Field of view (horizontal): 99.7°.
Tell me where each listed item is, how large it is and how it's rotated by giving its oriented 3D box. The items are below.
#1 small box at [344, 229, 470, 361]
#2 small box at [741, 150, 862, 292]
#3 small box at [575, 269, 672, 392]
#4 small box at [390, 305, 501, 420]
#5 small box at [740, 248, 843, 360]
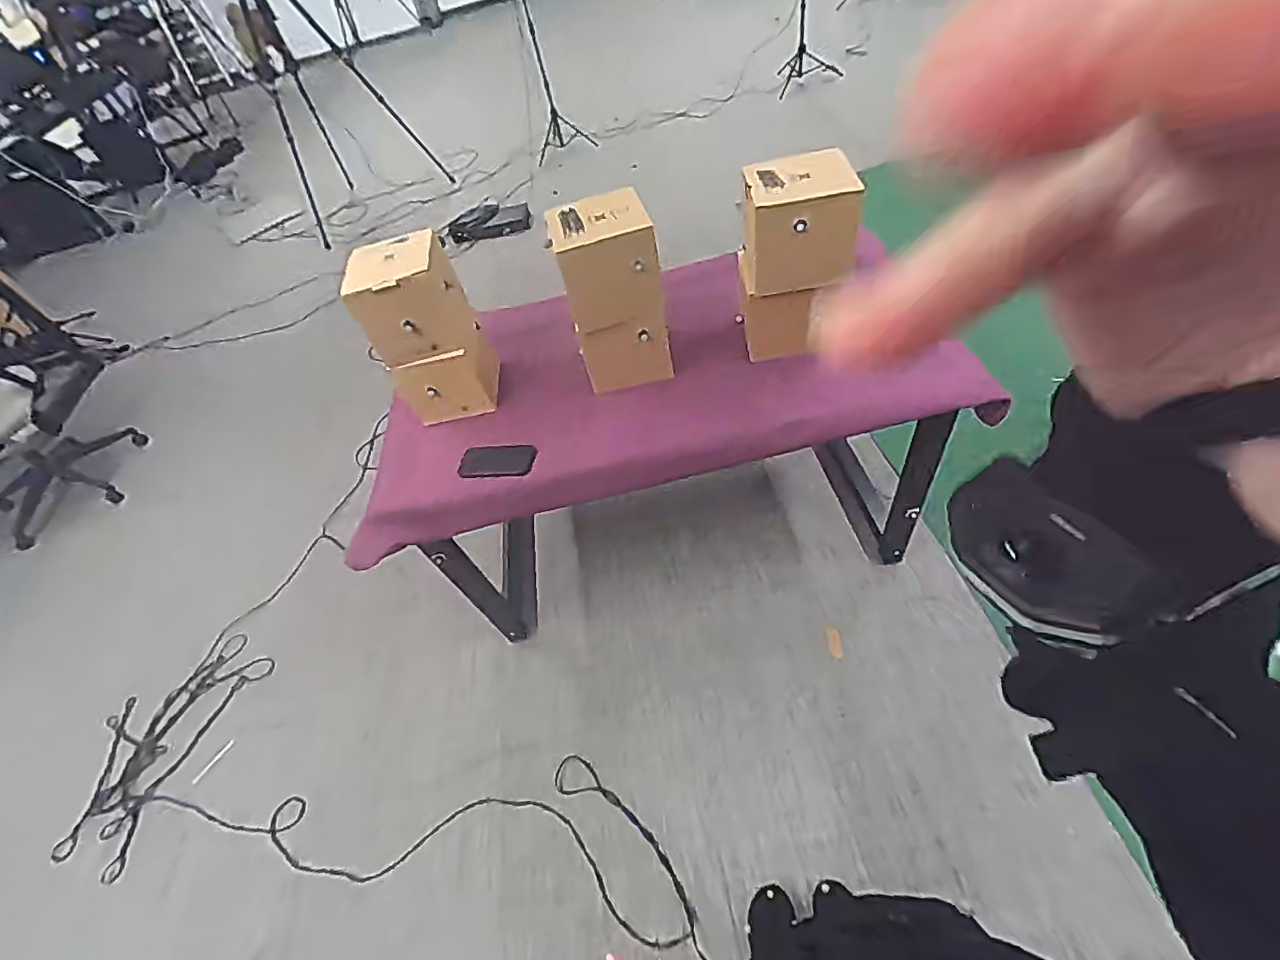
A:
[{"bbox_3d":[-0.446,-0.355,1.064,0.168,0.176,0.179,-15,51,1],"label":"small box"},{"bbox_3d":[0.283,-0.460,0.976,0.179,0.176,0.168,-7,51,7],"label":"small box"},{"bbox_3d":[-0.031,-0.313,1.144,0.179,0.176,0.168,-12,51,4],"label":"small box"},{"bbox_3d":[-0.414,-0.248,1.186,0.168,0.176,0.179,-11,51,4],"label":"small box"},{"bbox_3d":[0.304,-0.371,1.113,0.179,0.176,0.168,-7,51,9],"label":"small box"}]
